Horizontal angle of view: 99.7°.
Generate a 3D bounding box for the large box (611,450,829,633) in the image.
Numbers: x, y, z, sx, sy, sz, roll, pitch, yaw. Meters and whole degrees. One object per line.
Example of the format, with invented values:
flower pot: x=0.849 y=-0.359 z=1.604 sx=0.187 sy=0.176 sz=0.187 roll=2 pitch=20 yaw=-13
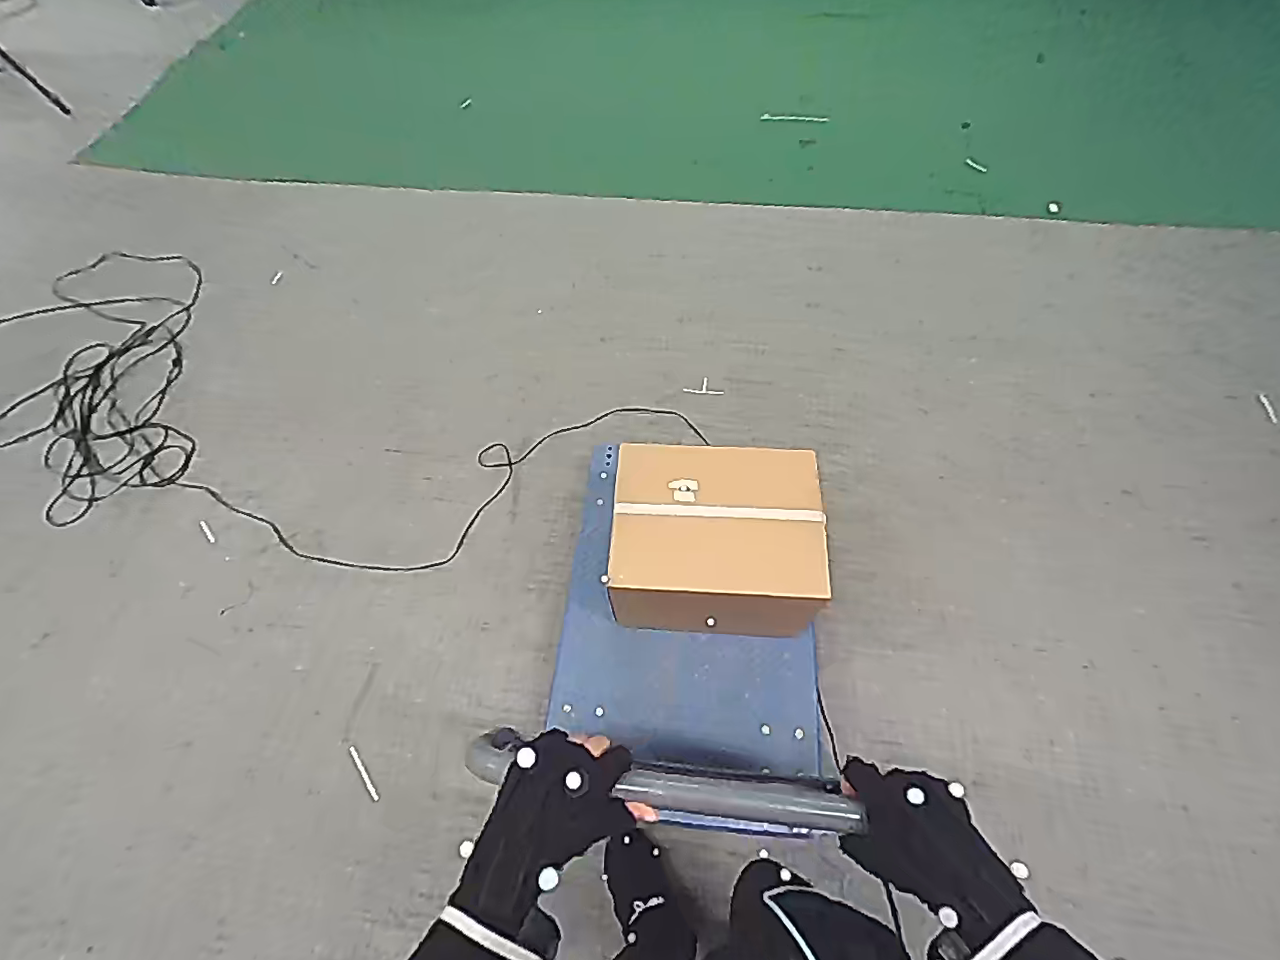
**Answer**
large box: x=0.158 y=0.145 z=1.184 sx=0.408 sy=0.320 sz=0.320 roll=2 pitch=60 yaw=4
